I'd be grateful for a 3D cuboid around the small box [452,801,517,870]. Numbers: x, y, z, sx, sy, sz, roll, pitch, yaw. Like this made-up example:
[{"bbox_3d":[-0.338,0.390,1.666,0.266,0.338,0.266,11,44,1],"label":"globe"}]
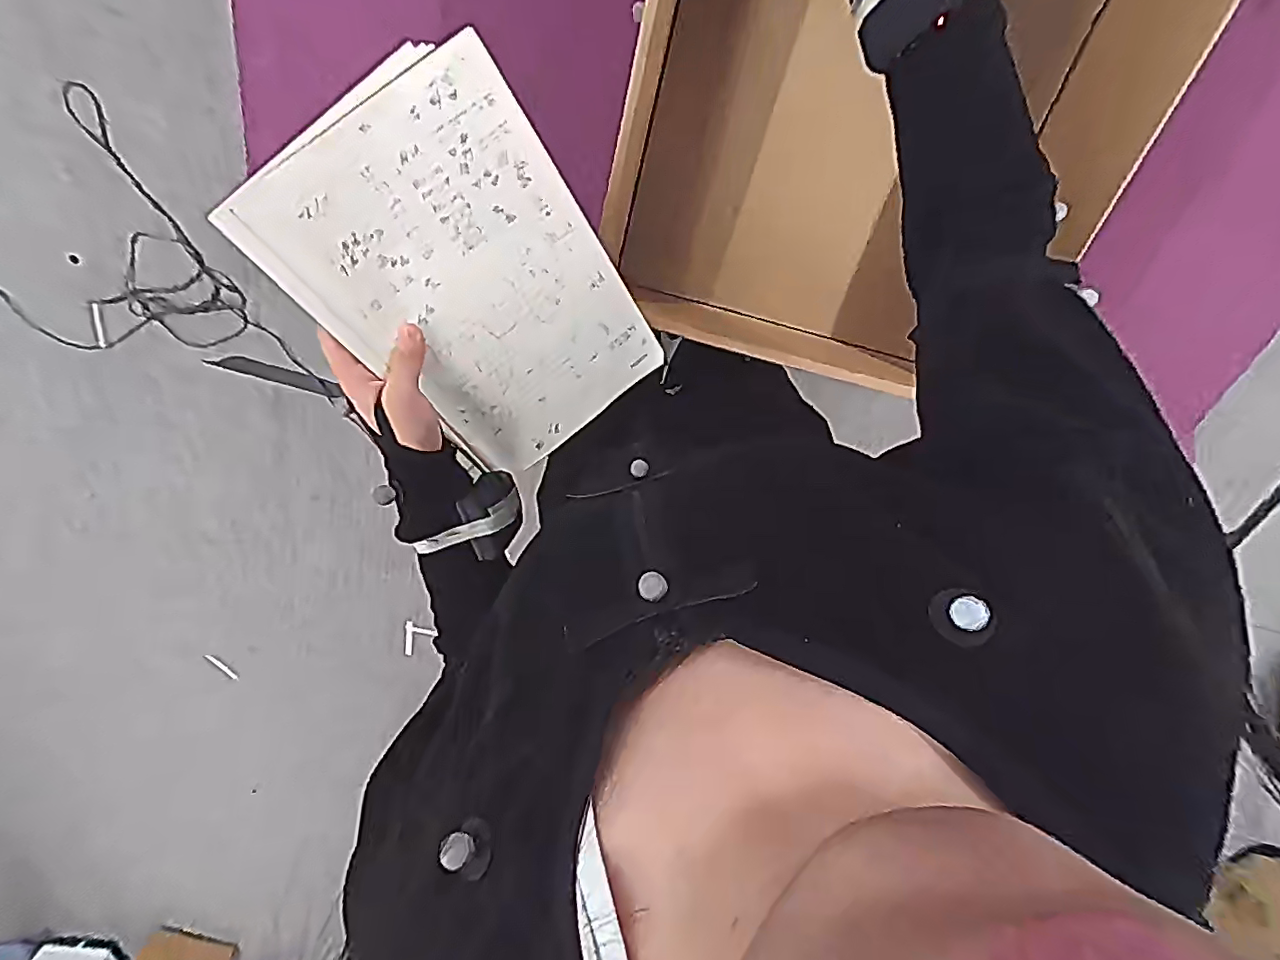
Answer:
[{"bbox_3d":[-0.547,1.282,1.923,0.168,0.176,0.179,20,119,-8],"label":"small box"}]
